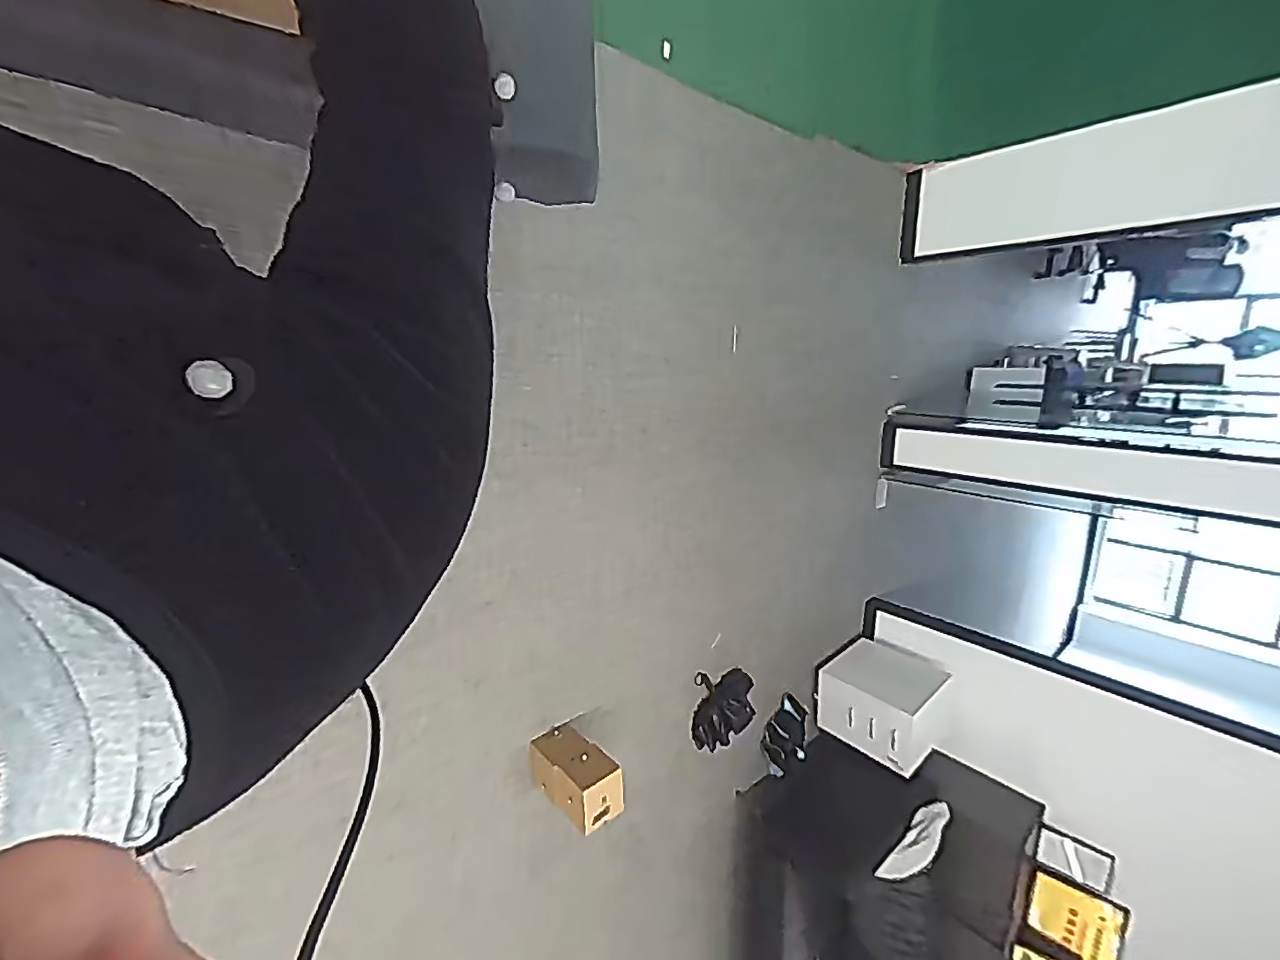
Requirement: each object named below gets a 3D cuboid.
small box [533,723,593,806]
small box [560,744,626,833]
[{"bbox_3d":[-0.279,1.043,1.997,0.168,0.176,0.179,-15,108,-40],"label":"small box"},{"bbox_3d":[-0.164,1.064,1.881,0.168,0.176,0.179,-13,107,-40],"label":"small box"}]
